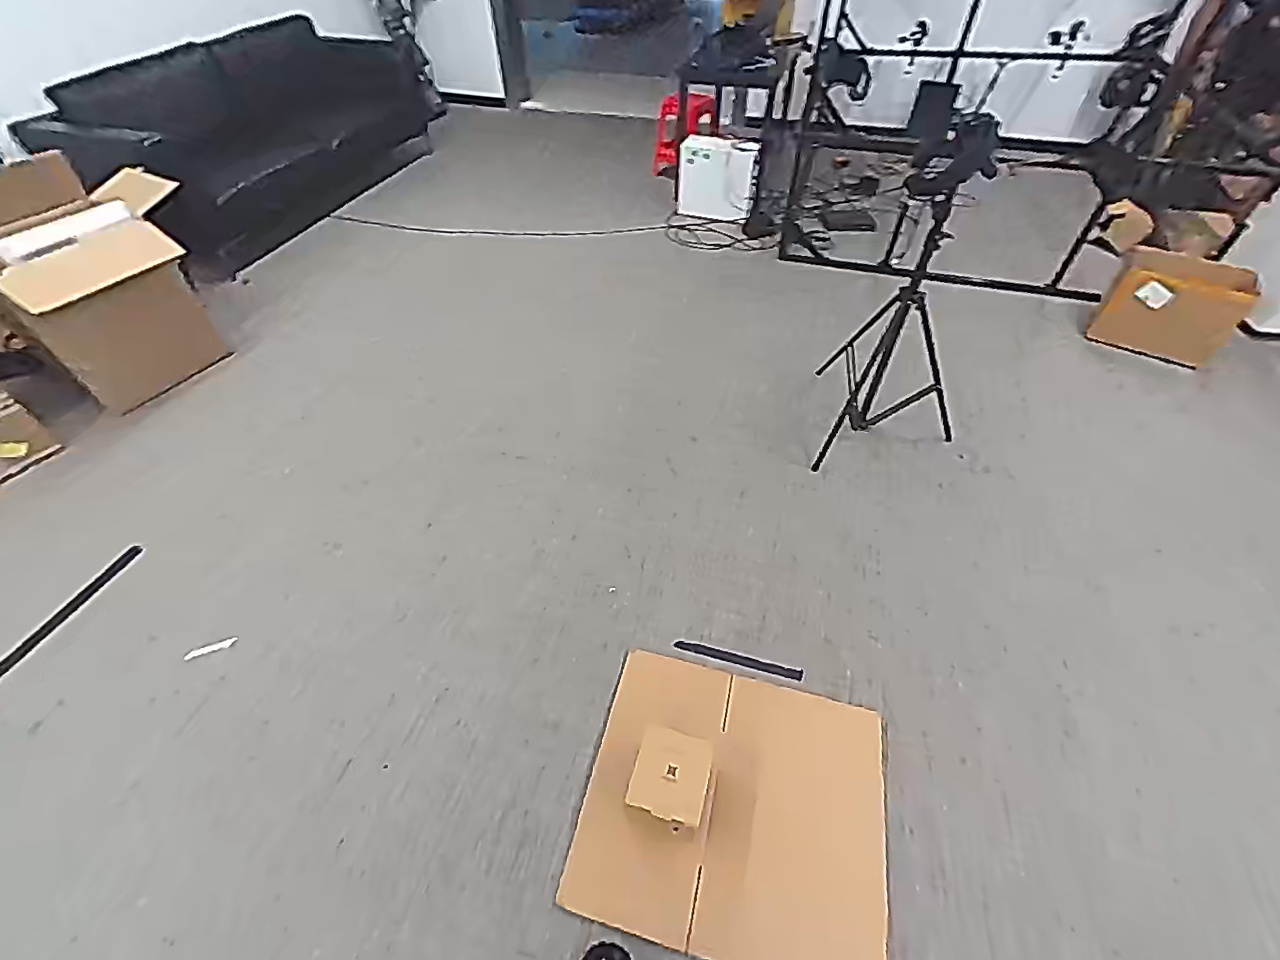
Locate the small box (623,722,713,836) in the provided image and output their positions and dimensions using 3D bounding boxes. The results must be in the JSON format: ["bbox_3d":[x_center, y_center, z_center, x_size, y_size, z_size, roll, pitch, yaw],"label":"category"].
[{"bbox_3d":[0.065,0.696,1.254,0.168,0.176,0.179,13,49,10],"label":"small box"}]
